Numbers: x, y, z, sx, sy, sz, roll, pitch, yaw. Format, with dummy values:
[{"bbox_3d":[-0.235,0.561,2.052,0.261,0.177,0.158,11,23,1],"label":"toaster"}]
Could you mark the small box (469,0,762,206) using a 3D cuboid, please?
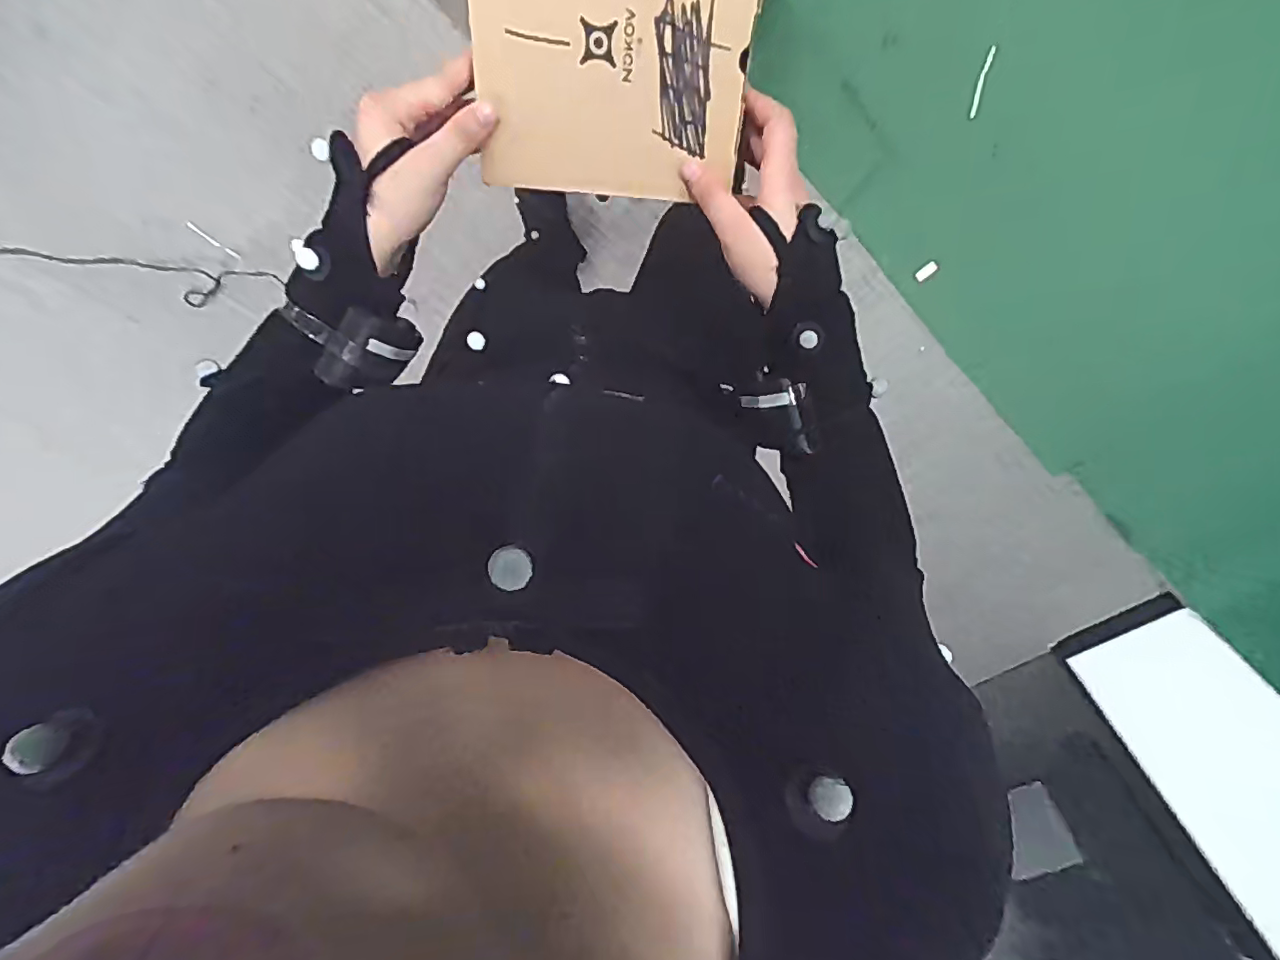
[{"bbox_3d":[-0.016,-0.313,0.396,0.179,0.176,0.168,4,126,-2],"label":"small box"}]
